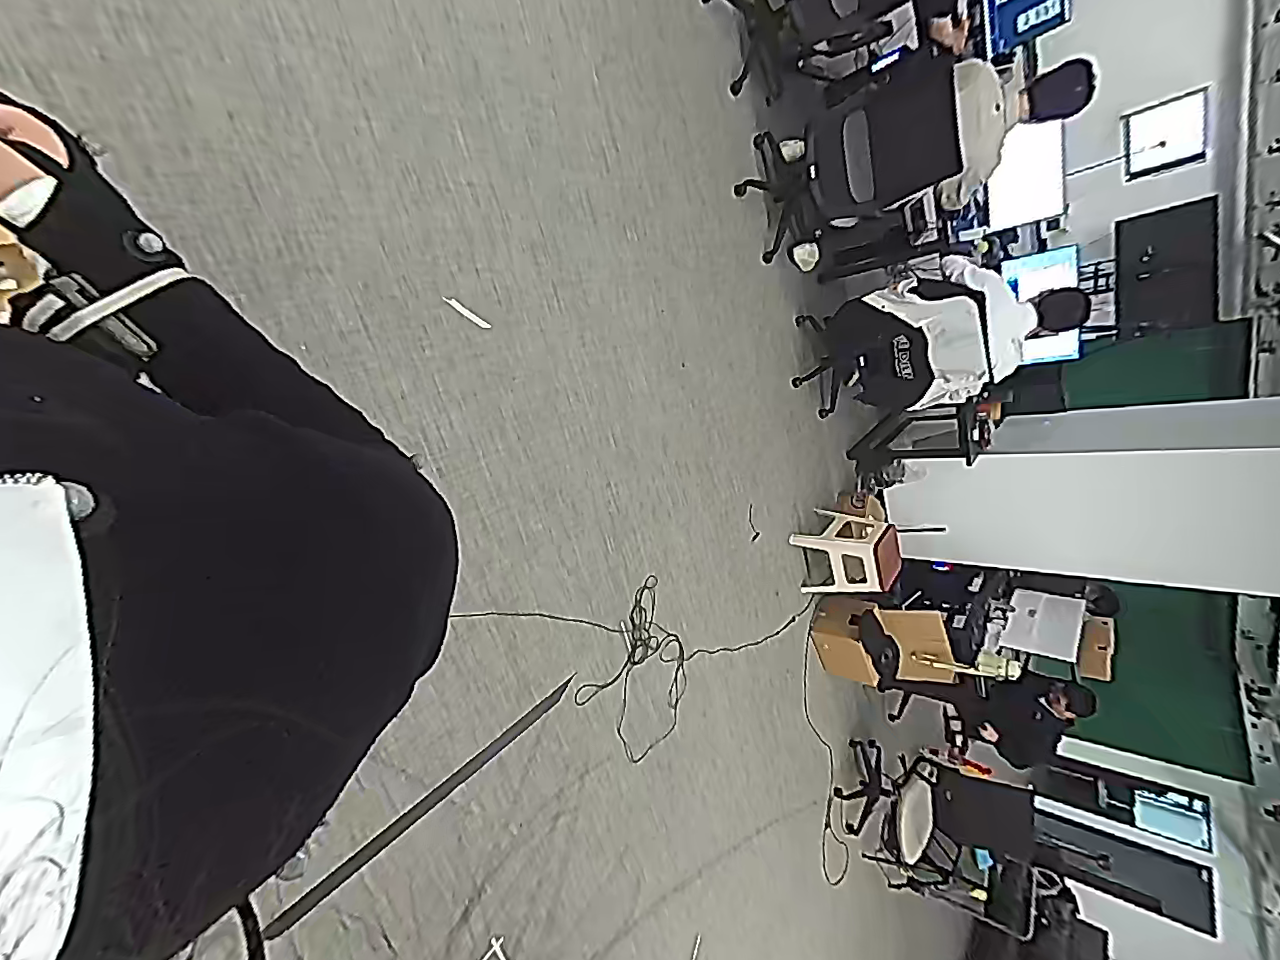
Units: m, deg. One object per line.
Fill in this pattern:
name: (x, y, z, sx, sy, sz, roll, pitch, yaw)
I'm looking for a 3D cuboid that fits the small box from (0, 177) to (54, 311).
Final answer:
small box: (-0.806, -0.276, 0.591, 0.179, 0.176, 0.168, -33, 114, -42)
